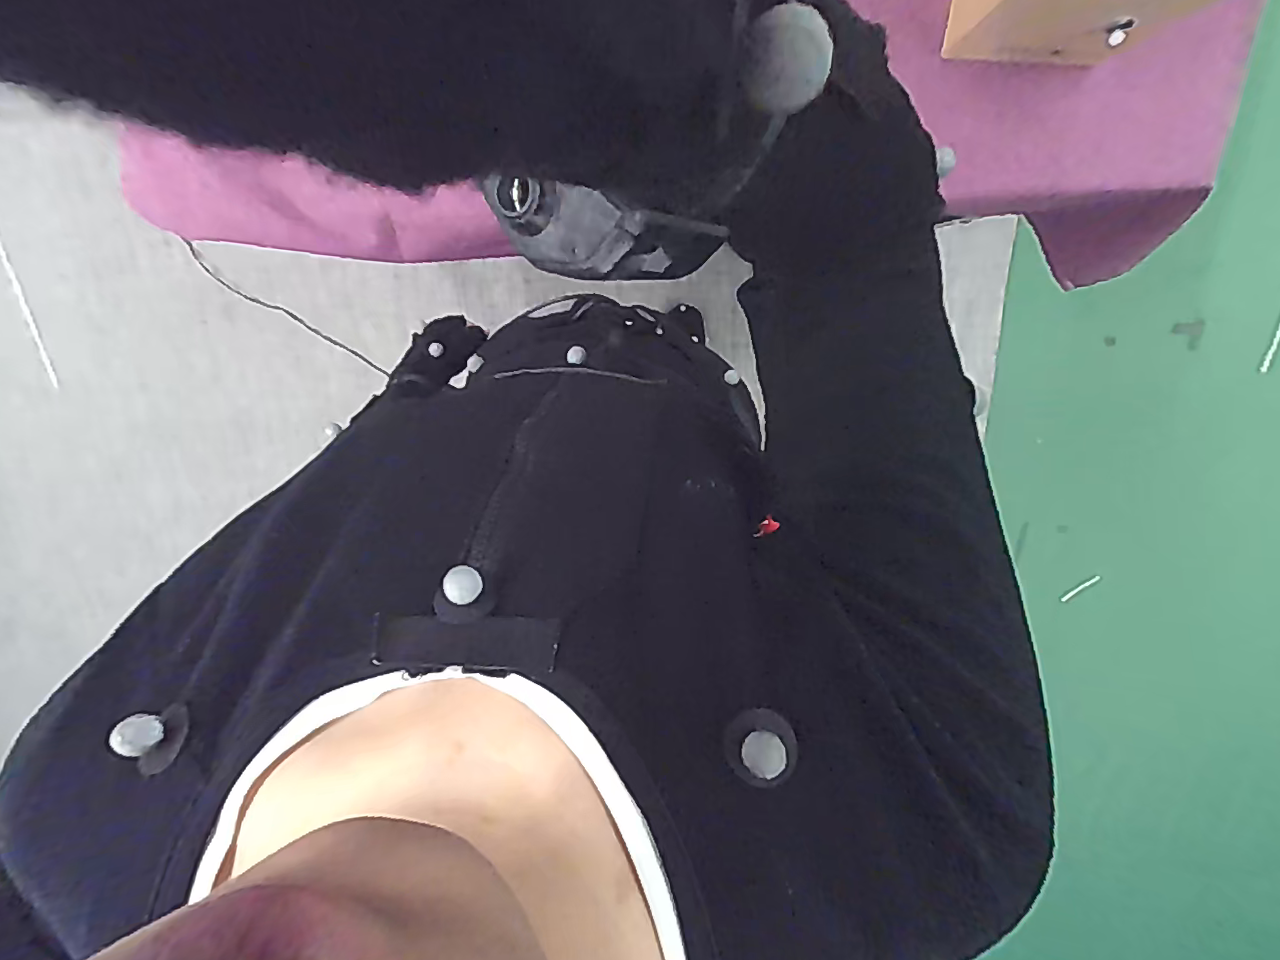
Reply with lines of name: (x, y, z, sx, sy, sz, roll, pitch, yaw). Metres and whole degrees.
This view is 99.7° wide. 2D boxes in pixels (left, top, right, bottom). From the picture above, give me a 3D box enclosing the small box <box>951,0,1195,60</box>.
small box: (0.398, -0.492, 0.459, 0.168, 0.176, 0.179, 5, 109, 1)
